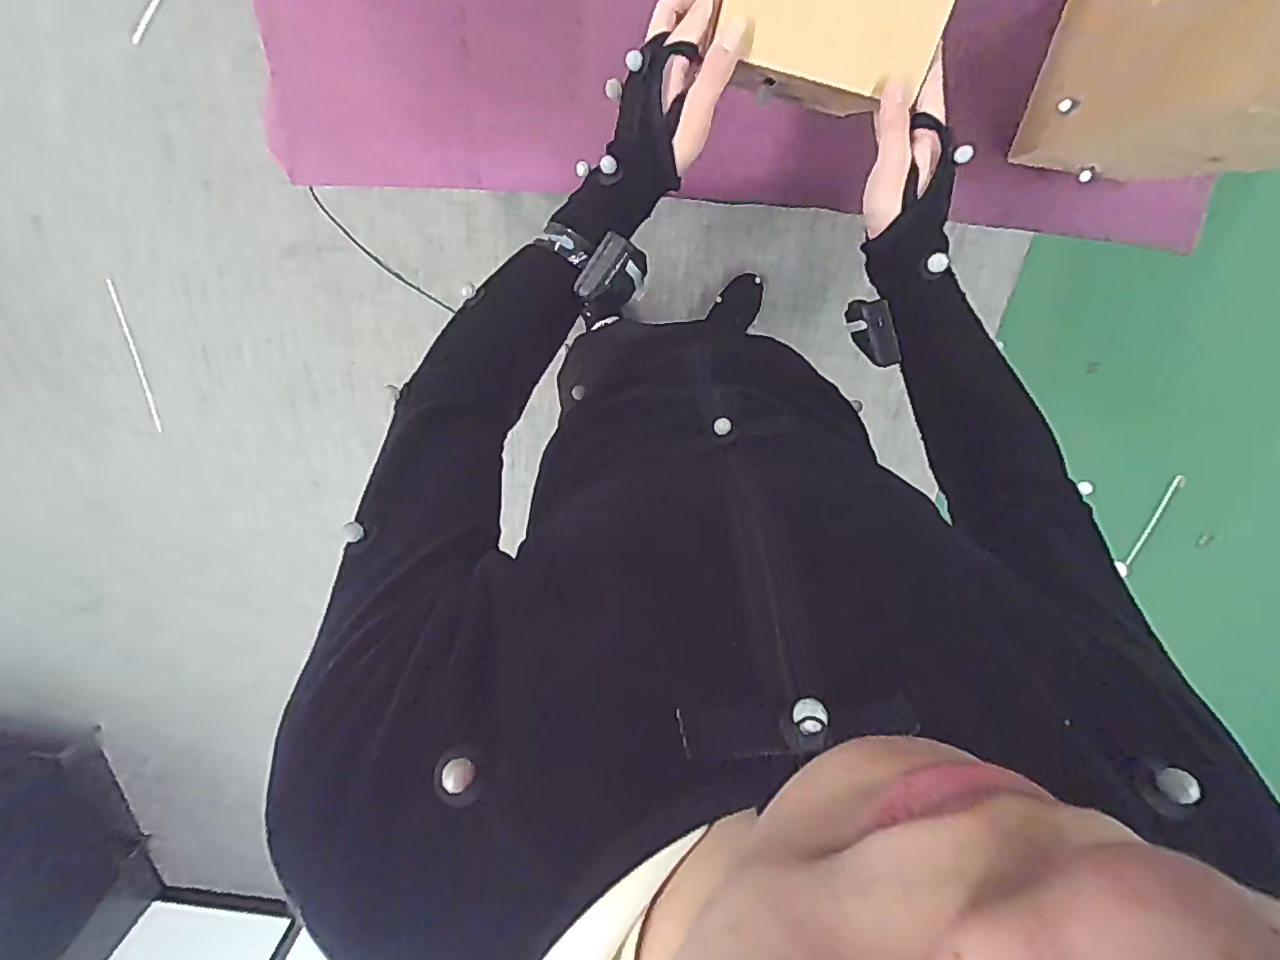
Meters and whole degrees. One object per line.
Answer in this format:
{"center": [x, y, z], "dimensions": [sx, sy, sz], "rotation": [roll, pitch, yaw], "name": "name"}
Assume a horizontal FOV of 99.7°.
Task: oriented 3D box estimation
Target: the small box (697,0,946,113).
{"center": [0.147, -0.420, 0.439], "dimensions": [0.168, 0.176, 0.179], "rotation": [10, 120, -6], "name": "small box"}
